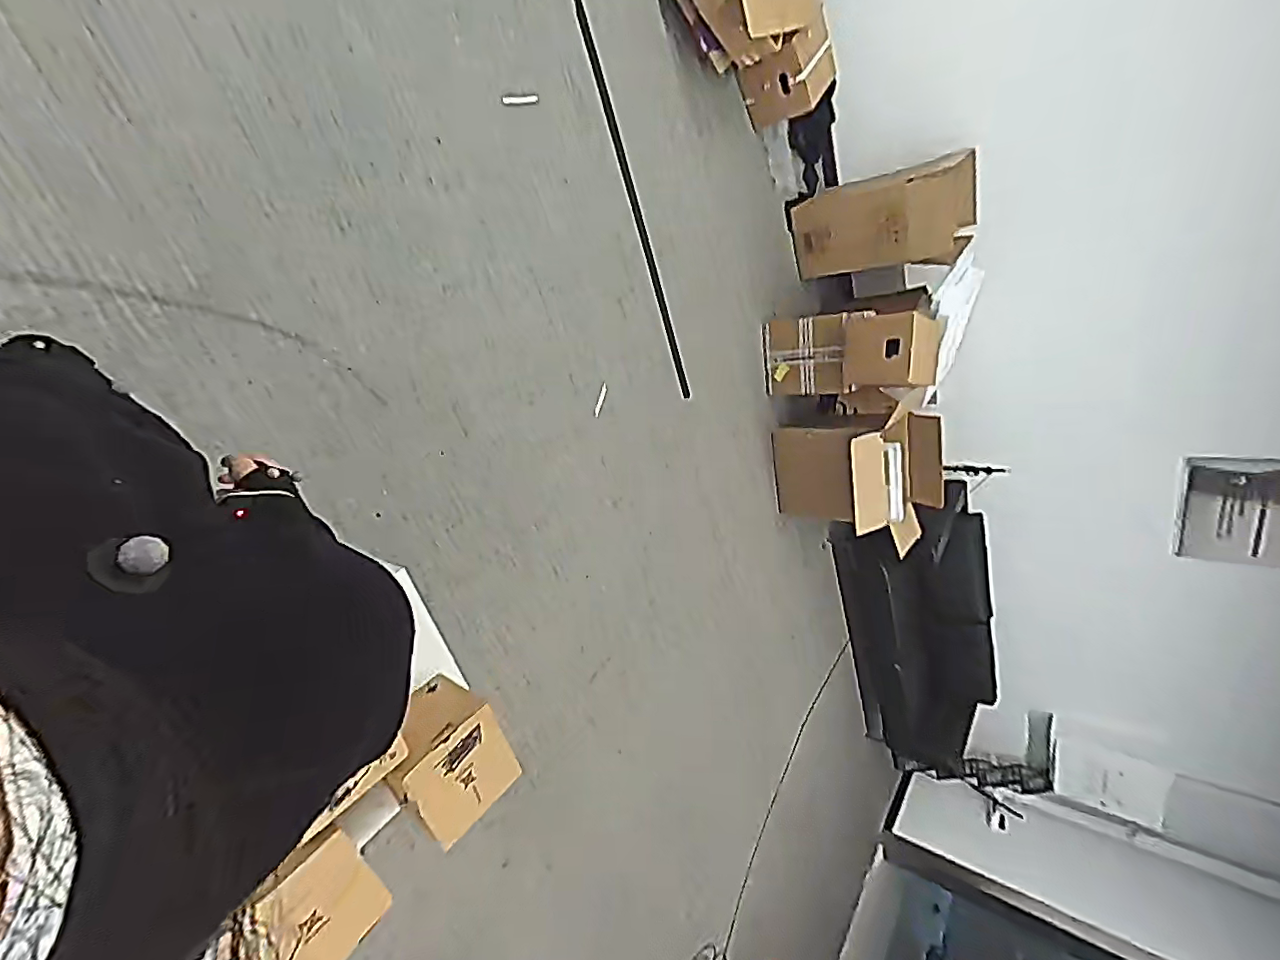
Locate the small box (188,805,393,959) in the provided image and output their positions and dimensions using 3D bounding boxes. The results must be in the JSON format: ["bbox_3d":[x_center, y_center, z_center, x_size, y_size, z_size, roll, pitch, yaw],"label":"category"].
[{"bbox_3d":[-0.500,0.590,0.779,0.168,0.176,0.179,-38,119,-41],"label":"small box"}]

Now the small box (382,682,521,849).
[{"bbox_3d":[-0.345,0.477,0.940,0.168,0.176,0.179,-35,119,-40],"label":"small box"}]
